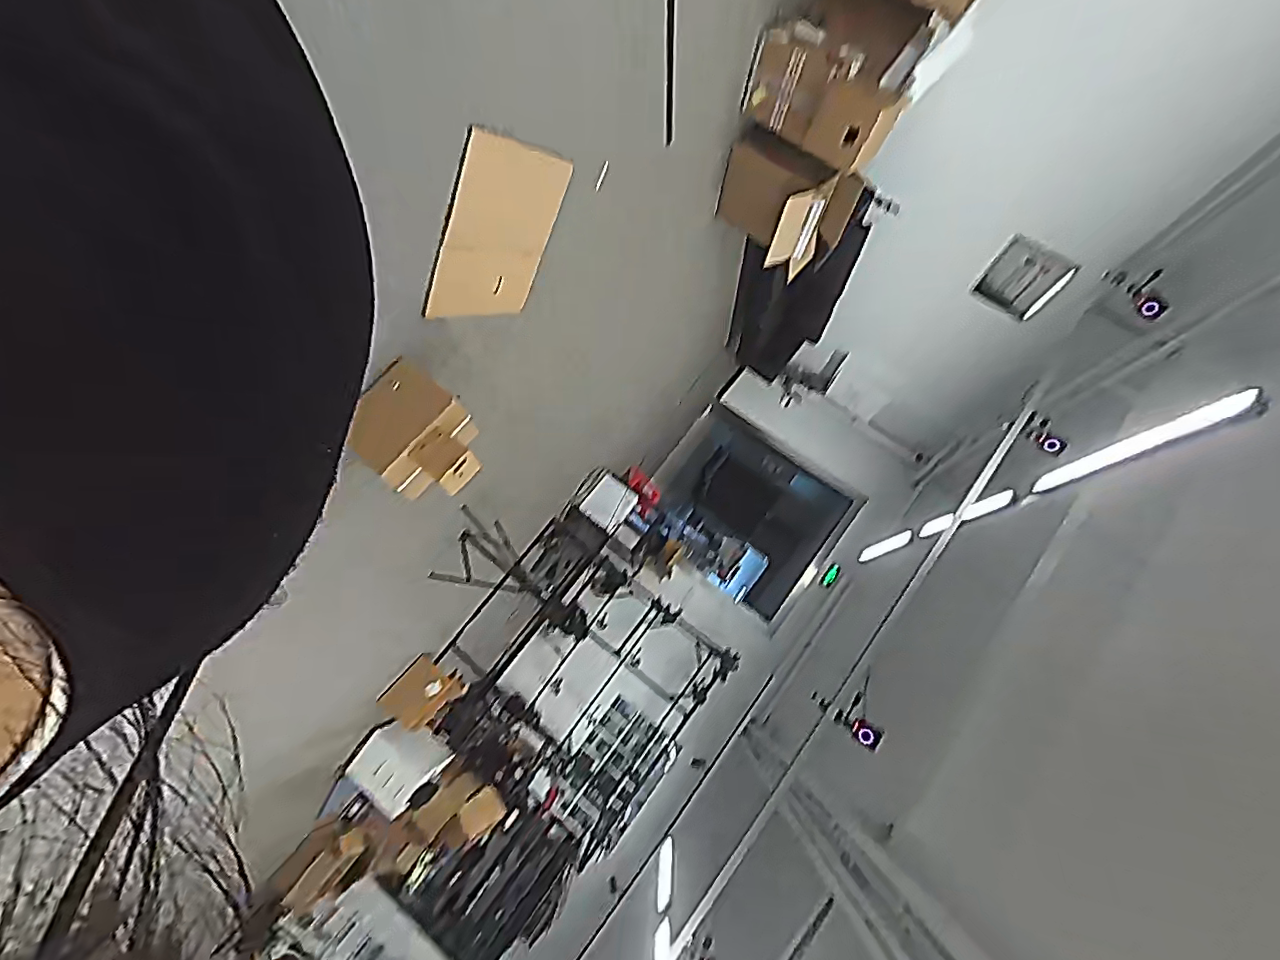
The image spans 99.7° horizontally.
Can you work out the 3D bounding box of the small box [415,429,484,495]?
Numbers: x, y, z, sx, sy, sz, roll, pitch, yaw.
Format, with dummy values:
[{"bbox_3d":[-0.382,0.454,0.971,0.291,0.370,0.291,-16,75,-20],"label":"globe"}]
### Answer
[{"bbox_3d":[-0.748,-0.075,2.124,0.168,0.176,0.179,-50,167,-17],"label":"small box"}]
